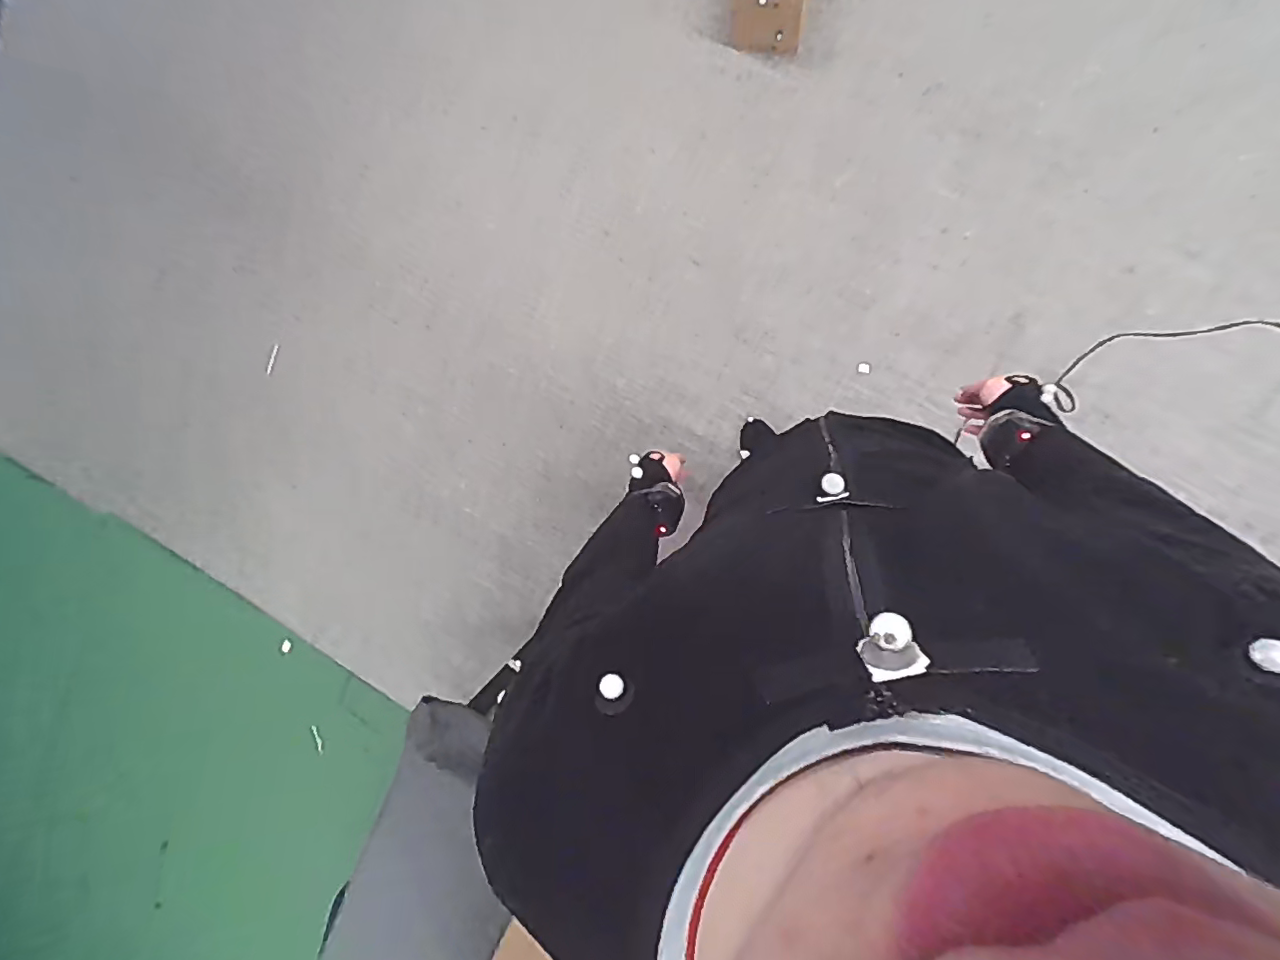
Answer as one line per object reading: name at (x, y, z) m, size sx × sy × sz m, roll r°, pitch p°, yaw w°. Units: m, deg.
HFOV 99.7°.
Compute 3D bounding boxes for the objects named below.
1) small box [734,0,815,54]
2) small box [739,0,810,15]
small box at (0.328, -1.153, 1.276) m, size 0.168 × 0.176 × 0.179 m, roll 15°, pitch 101°, yaw 10°
small box at (0.295, -1.124, 1.118) m, size 0.168 × 0.176 × 0.179 m, roll 17°, pitch 103°, yaw 10°
